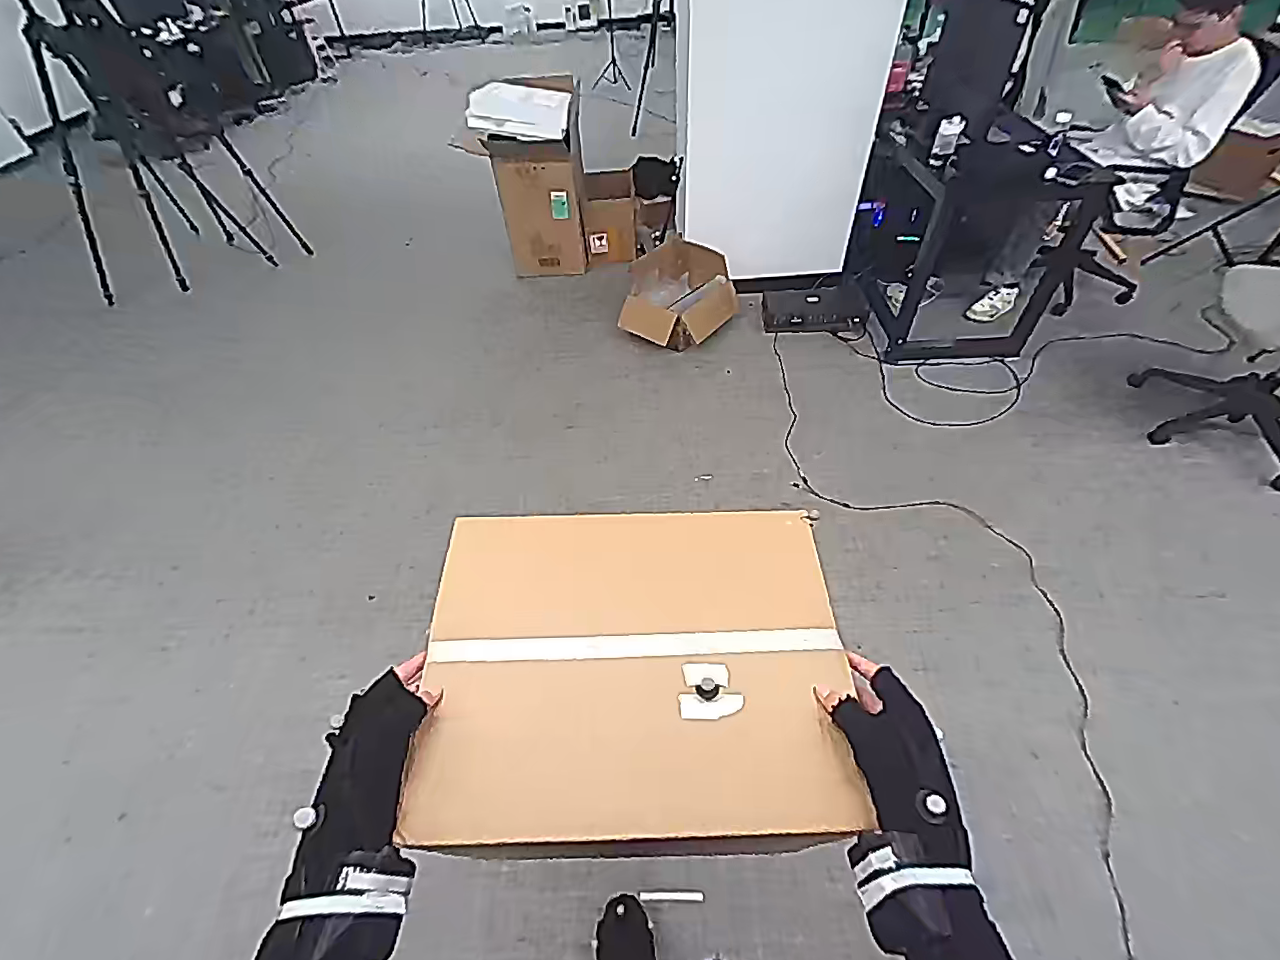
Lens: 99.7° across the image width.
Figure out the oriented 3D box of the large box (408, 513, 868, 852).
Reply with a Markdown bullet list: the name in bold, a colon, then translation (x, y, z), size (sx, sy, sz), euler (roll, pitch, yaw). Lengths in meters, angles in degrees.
- **large box**: translation (-0.006, 0.255, 0.666), size (0.408, 0.320, 0.320), euler (-1, 53, -1)
